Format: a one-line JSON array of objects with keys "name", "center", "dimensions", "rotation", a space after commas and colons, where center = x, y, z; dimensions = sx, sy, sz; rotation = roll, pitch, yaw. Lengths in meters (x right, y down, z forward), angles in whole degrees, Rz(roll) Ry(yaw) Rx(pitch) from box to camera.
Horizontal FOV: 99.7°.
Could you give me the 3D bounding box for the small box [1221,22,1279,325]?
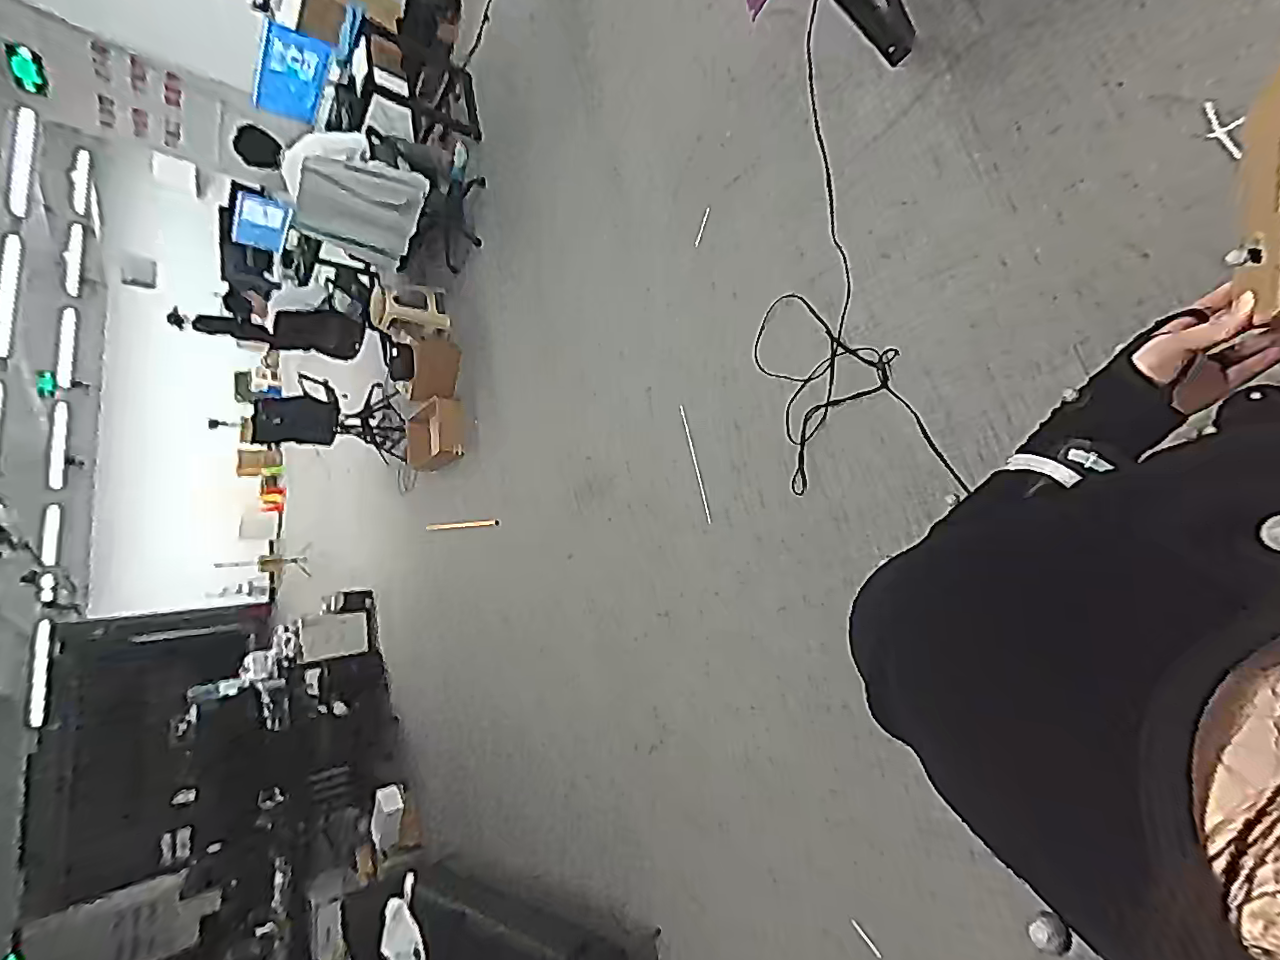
[{"name": "small box", "center": [0.488, -0.193, 0.324], "dimensions": [0.179, 0.176, 0.168], "rotation": [2, 100, 41]}]
